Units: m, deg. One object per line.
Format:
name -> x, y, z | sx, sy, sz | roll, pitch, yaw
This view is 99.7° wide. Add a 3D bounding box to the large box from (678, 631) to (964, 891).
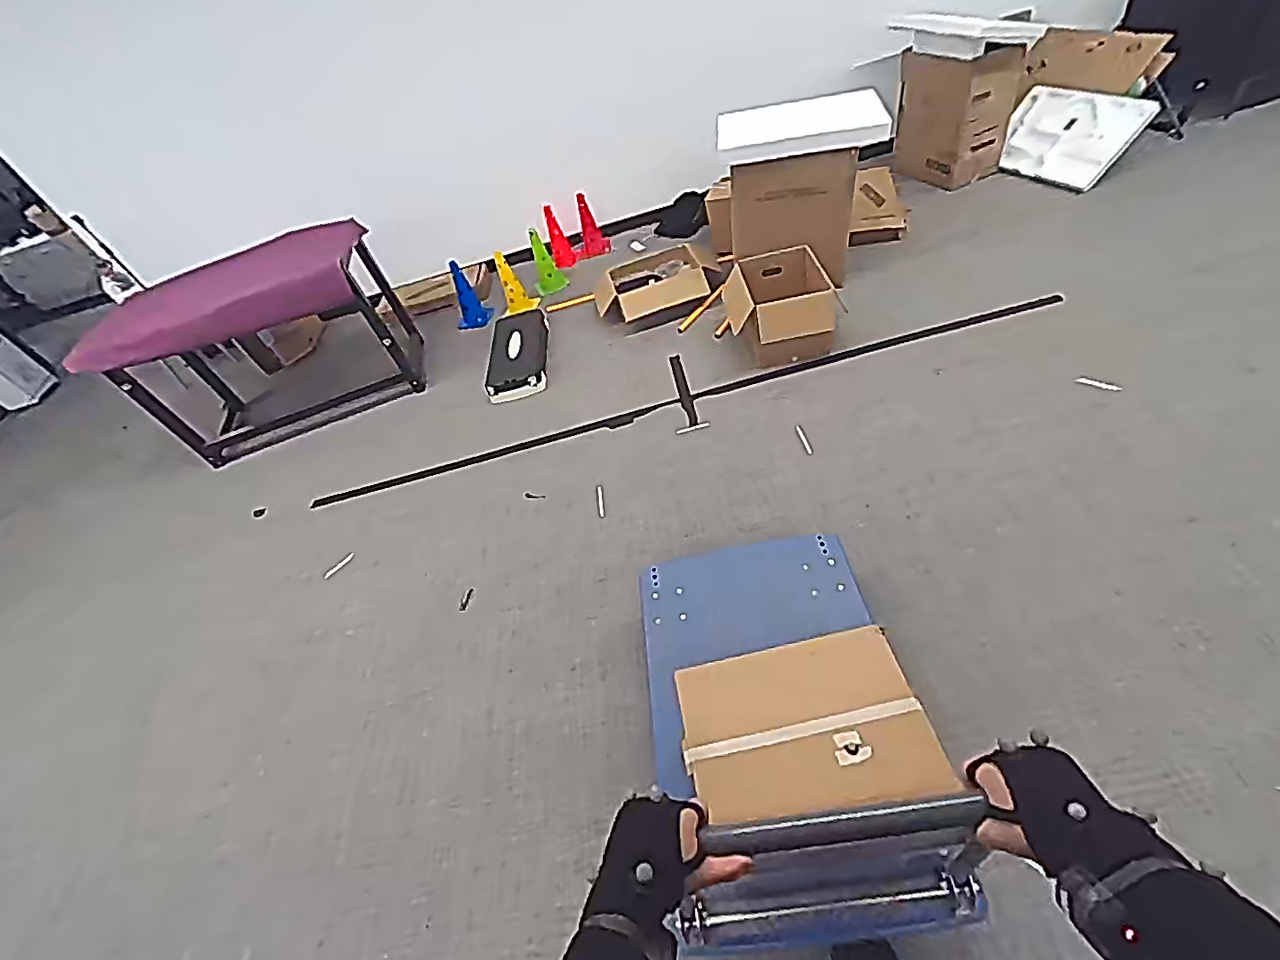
large box -> 0.315, 0.545, 1.043 | 0.408, 0.320, 0.320 | -14, 46, 2
